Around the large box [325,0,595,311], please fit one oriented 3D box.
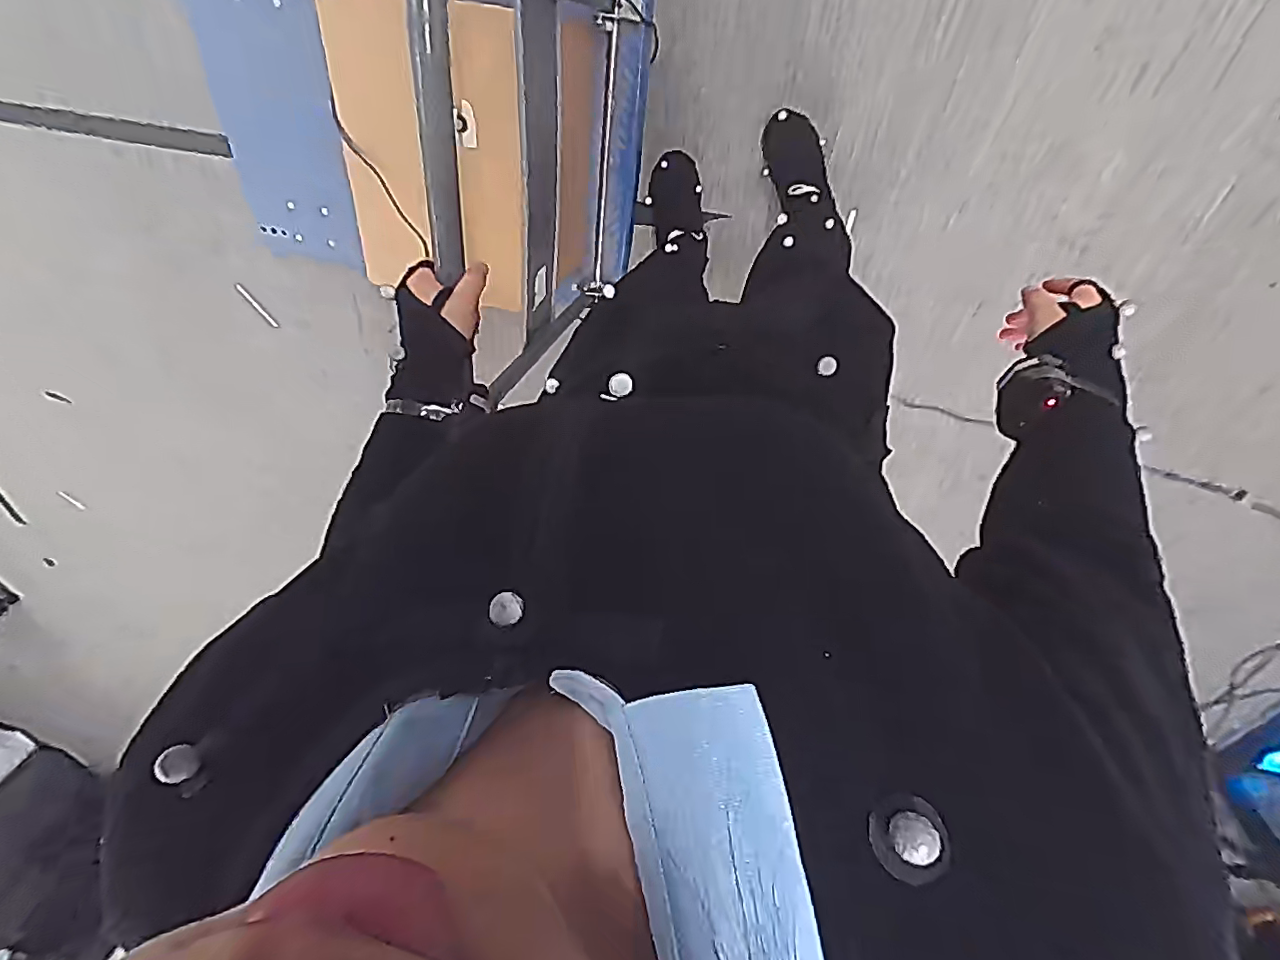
[{"bbox_3d":[-0.273,-0.564,0.953,0.320,0.320,0.408,12,127,4],"label":"large box"}]
